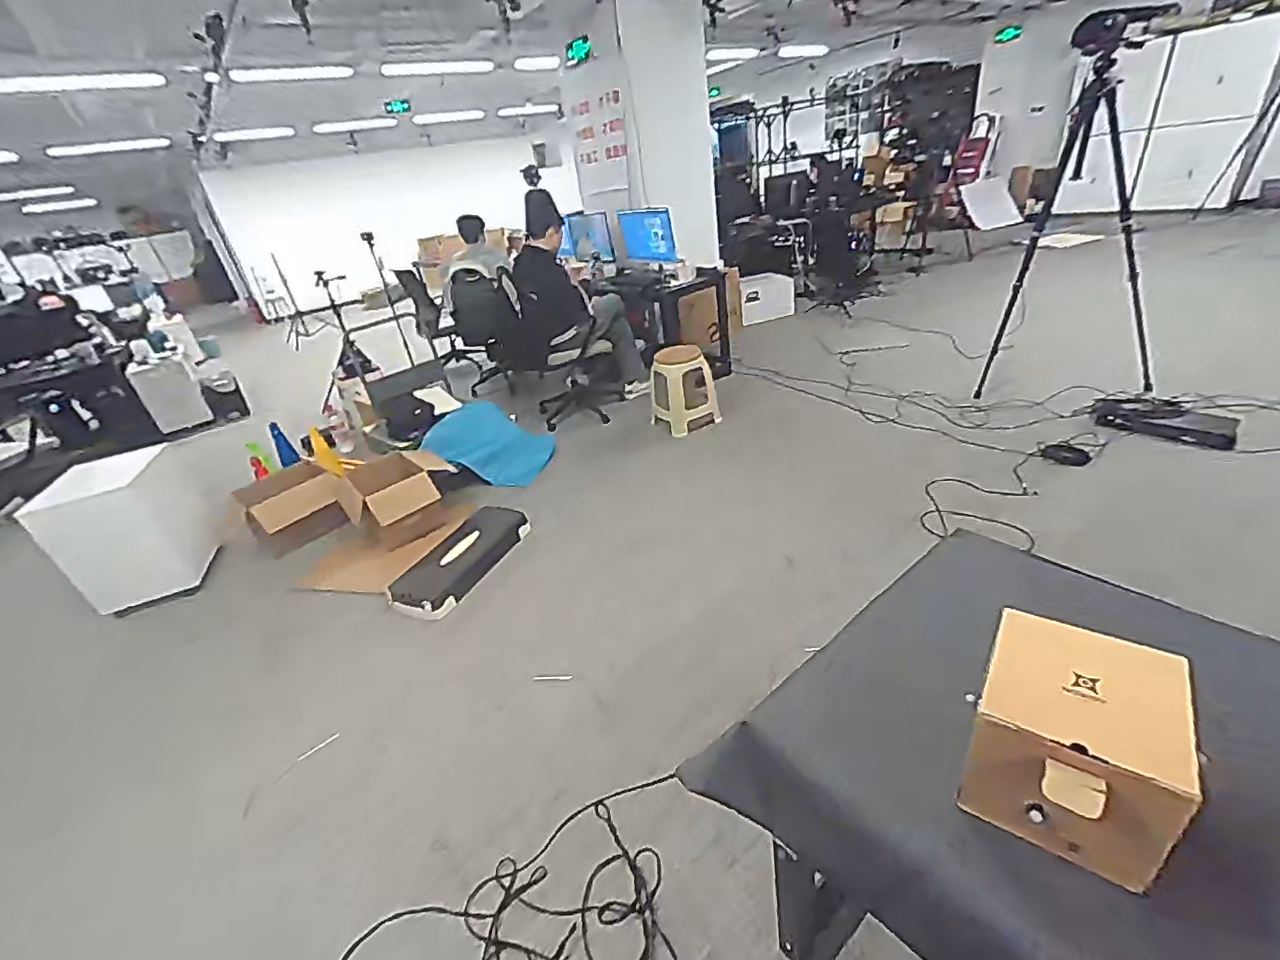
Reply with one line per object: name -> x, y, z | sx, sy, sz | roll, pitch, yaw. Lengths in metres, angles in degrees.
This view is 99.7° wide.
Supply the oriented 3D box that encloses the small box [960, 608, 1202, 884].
small box -> 0.470, 0.281, 0.596 | 0.168, 0.176, 0.179 | 14, 37, 35
